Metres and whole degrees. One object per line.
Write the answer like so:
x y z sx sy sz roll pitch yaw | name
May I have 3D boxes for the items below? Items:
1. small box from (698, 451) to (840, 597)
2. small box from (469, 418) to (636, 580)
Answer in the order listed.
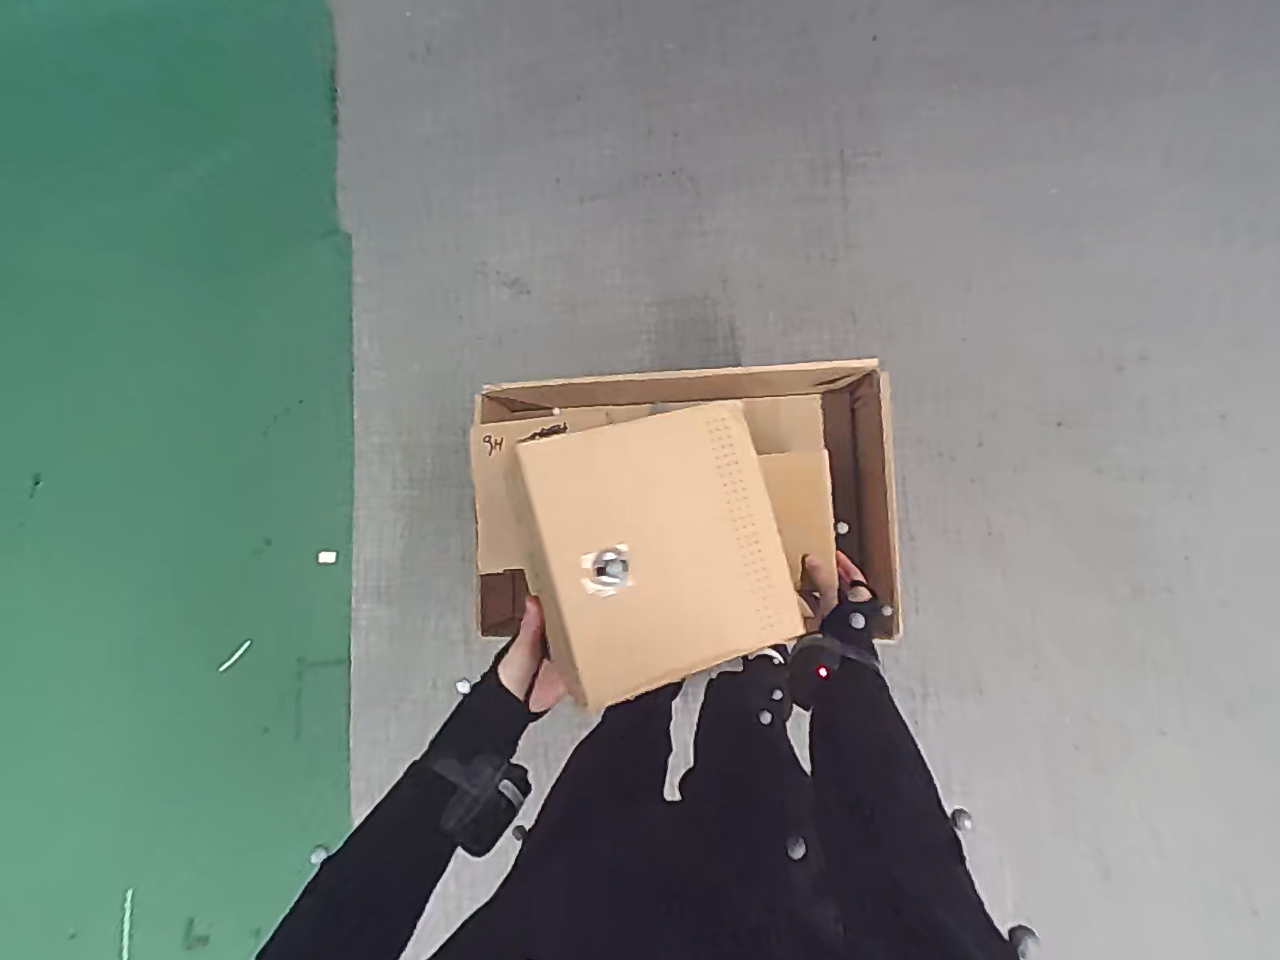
0.179 0.067 0.745 0.168 0.176 0.179 -5 81 19 | small box
-0.101 0.026 0.691 0.168 0.176 0.179 -5 86 8 | small box
